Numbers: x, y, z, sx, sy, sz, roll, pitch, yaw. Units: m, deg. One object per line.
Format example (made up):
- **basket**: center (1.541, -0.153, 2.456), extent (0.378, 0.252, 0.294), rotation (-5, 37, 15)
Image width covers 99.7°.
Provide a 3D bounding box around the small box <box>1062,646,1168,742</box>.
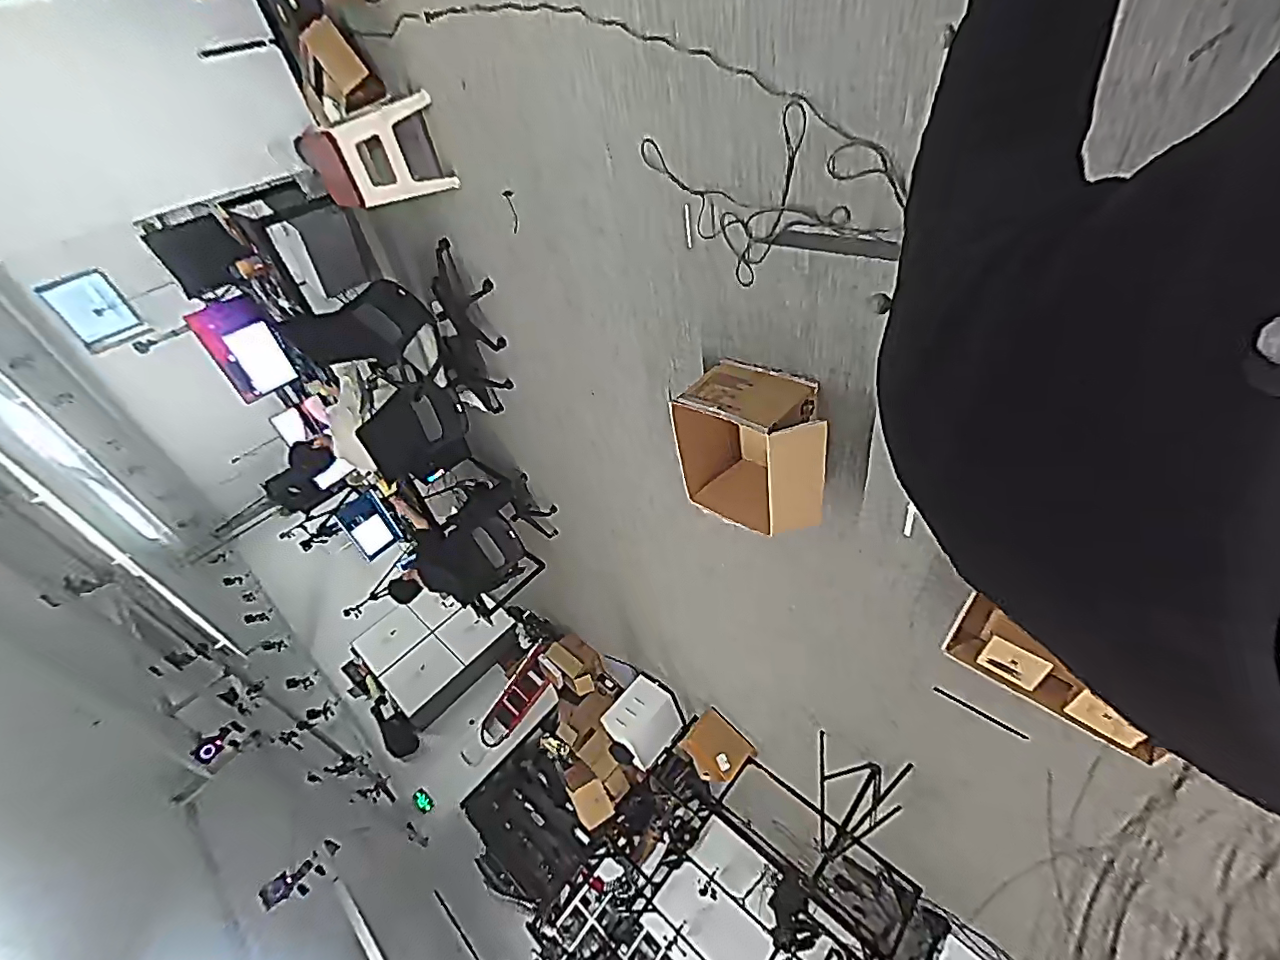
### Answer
- **small box**: center (1.425, 0.637, 1.621), extent (0.179, 0.176, 0.168), rotation (31, 144, 32)
